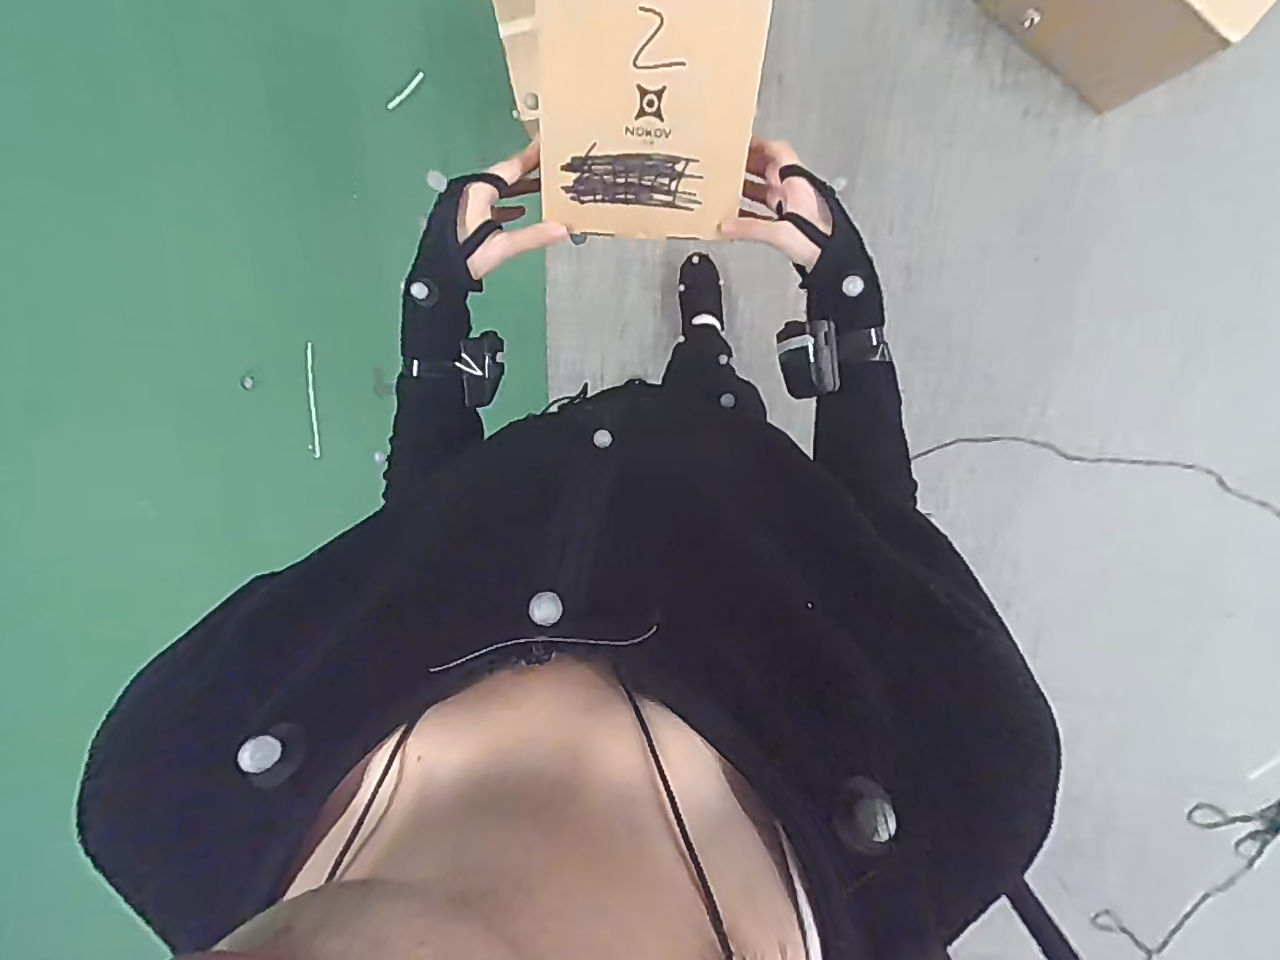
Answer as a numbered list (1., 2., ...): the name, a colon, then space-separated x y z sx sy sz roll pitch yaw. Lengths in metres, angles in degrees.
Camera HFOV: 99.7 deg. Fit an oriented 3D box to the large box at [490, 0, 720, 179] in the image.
1. large box: -0.064 -0.902 1.162 0.408 0.320 0.320 -11 100 5
